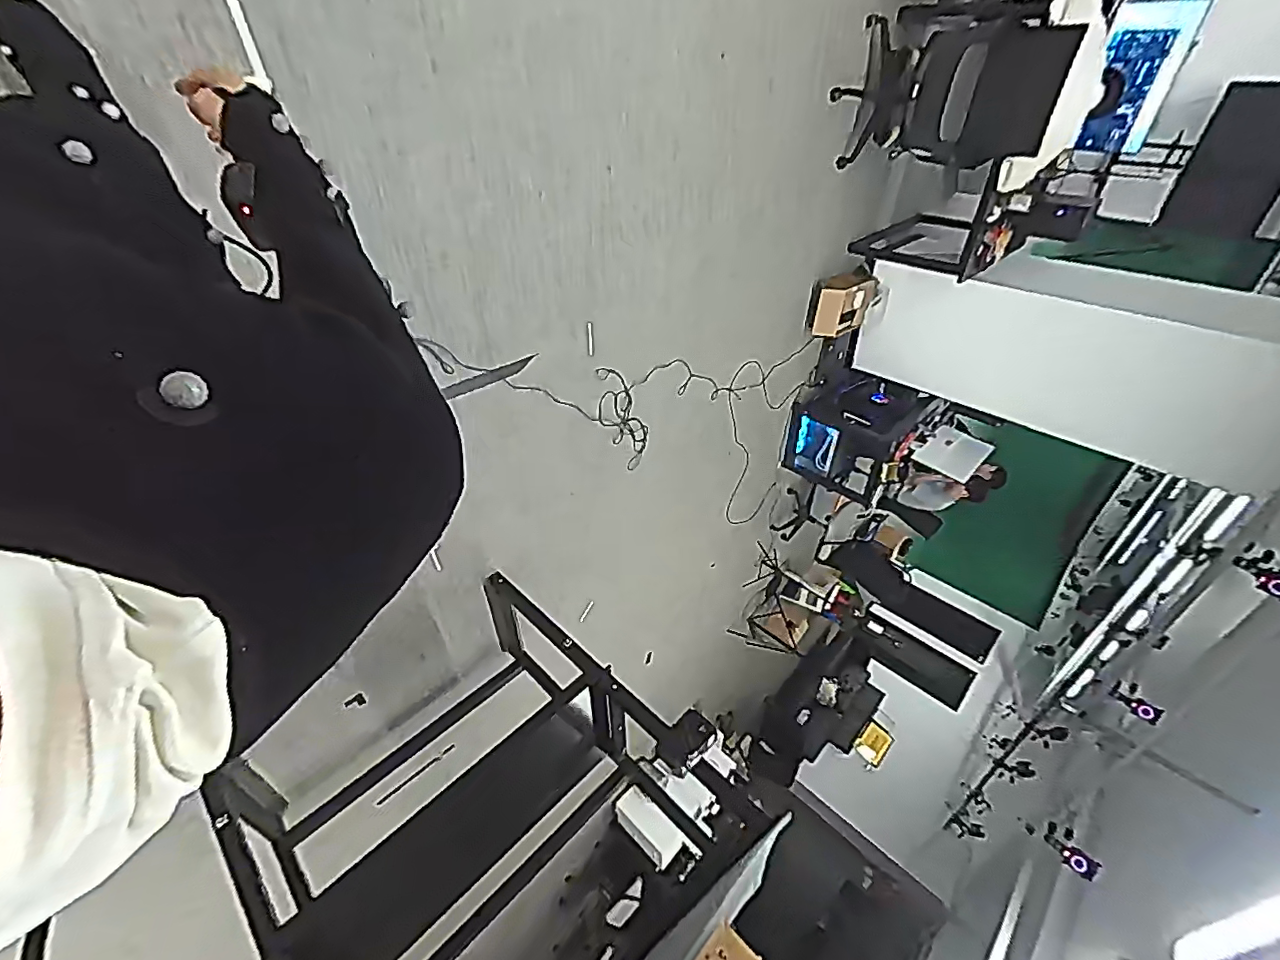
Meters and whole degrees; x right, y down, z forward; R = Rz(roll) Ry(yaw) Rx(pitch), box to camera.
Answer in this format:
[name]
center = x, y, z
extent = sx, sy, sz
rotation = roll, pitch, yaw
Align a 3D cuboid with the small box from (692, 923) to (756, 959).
[small box]
center = 0.254, 1.490, 1.626
extent = 0.168, 0.176, 0.179
rotation = -34, 137, -33
